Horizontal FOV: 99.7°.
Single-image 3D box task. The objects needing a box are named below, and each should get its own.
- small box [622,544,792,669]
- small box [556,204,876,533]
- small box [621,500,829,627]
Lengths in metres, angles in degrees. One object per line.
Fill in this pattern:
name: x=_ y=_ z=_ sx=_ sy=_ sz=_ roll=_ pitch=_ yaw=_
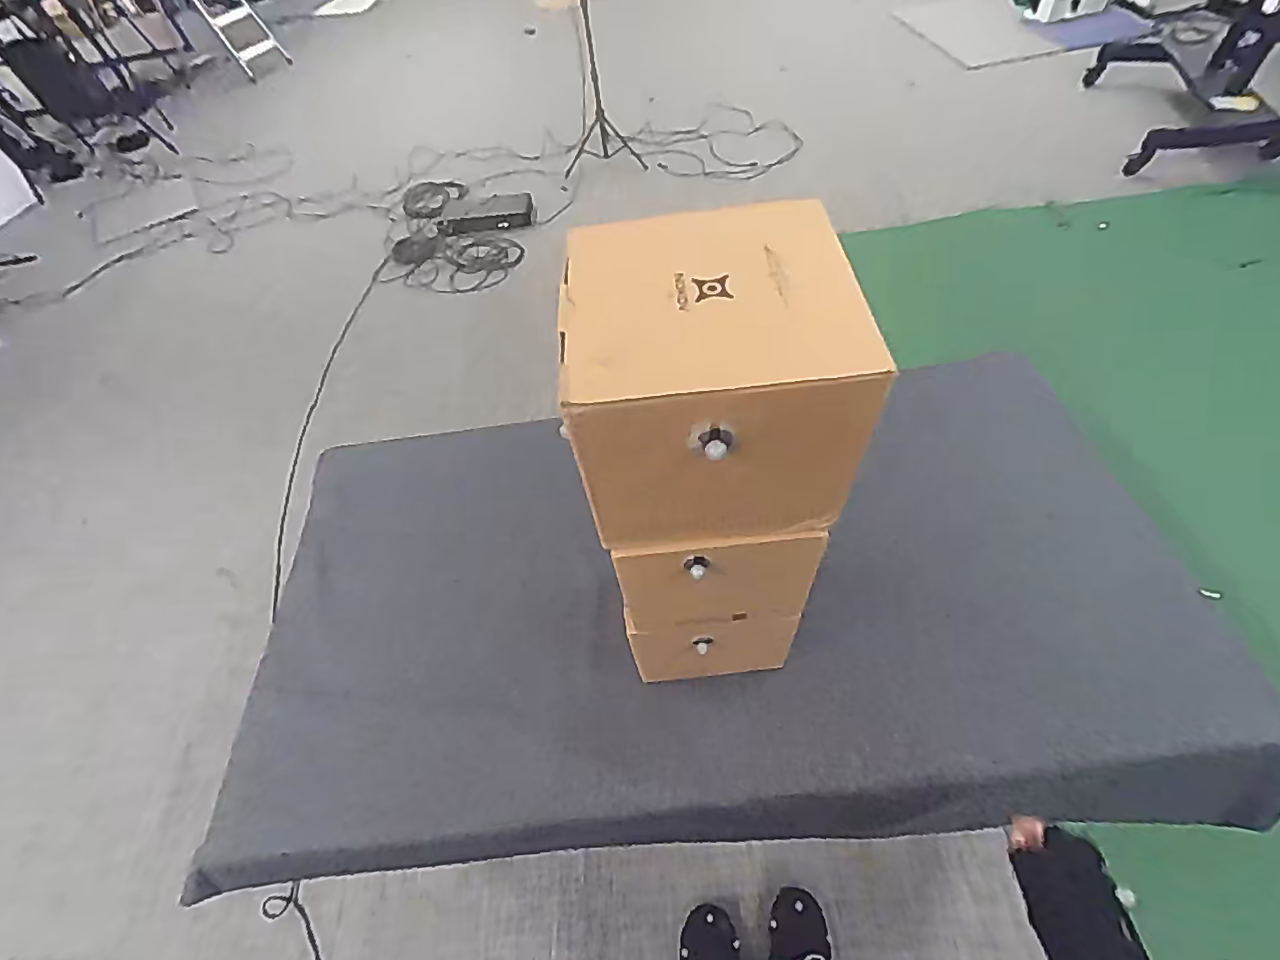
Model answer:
small box: x=0.075 y=0.121 z=0.661 sx=0.179 sy=0.176 sz=0.168 roll=-7 pitch=54 yaw=2
small box: x=0.044 y=-0.071 z=0.400 sx=0.179 sy=0.176 sz=0.168 roll=-5 pitch=56 yaw=2
small box: x=0.064 y=0.024 z=0.533 sx=0.168 sy=0.176 sz=0.179 roll=-8 pitch=55 yaw=0
